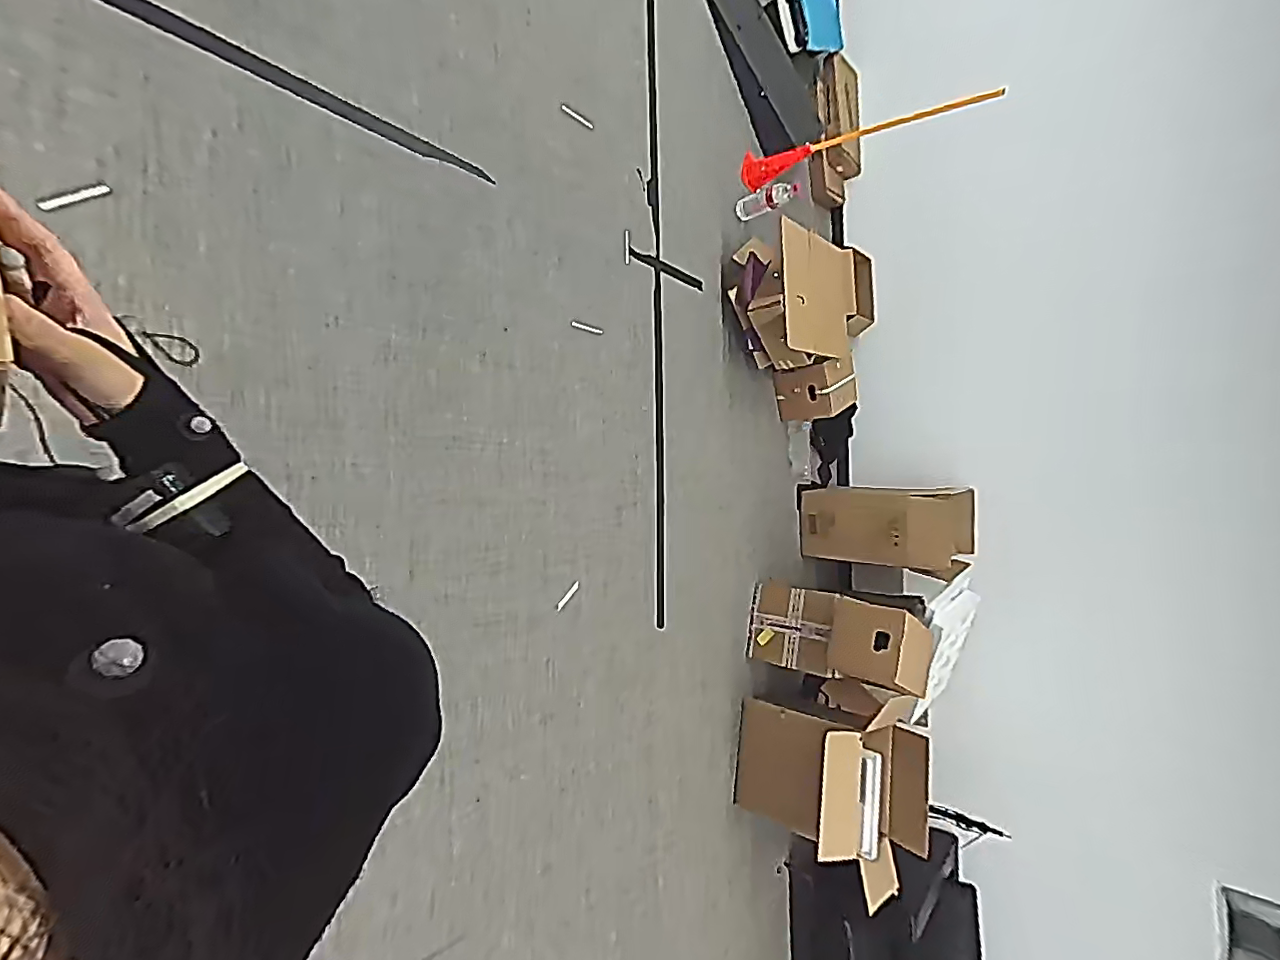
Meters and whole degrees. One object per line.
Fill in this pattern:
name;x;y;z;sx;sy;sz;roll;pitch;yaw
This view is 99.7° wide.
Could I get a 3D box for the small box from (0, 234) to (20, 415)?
small box;-0.439;-0.121;0.261;0.168;0.176;0.179;-10;90;-53
